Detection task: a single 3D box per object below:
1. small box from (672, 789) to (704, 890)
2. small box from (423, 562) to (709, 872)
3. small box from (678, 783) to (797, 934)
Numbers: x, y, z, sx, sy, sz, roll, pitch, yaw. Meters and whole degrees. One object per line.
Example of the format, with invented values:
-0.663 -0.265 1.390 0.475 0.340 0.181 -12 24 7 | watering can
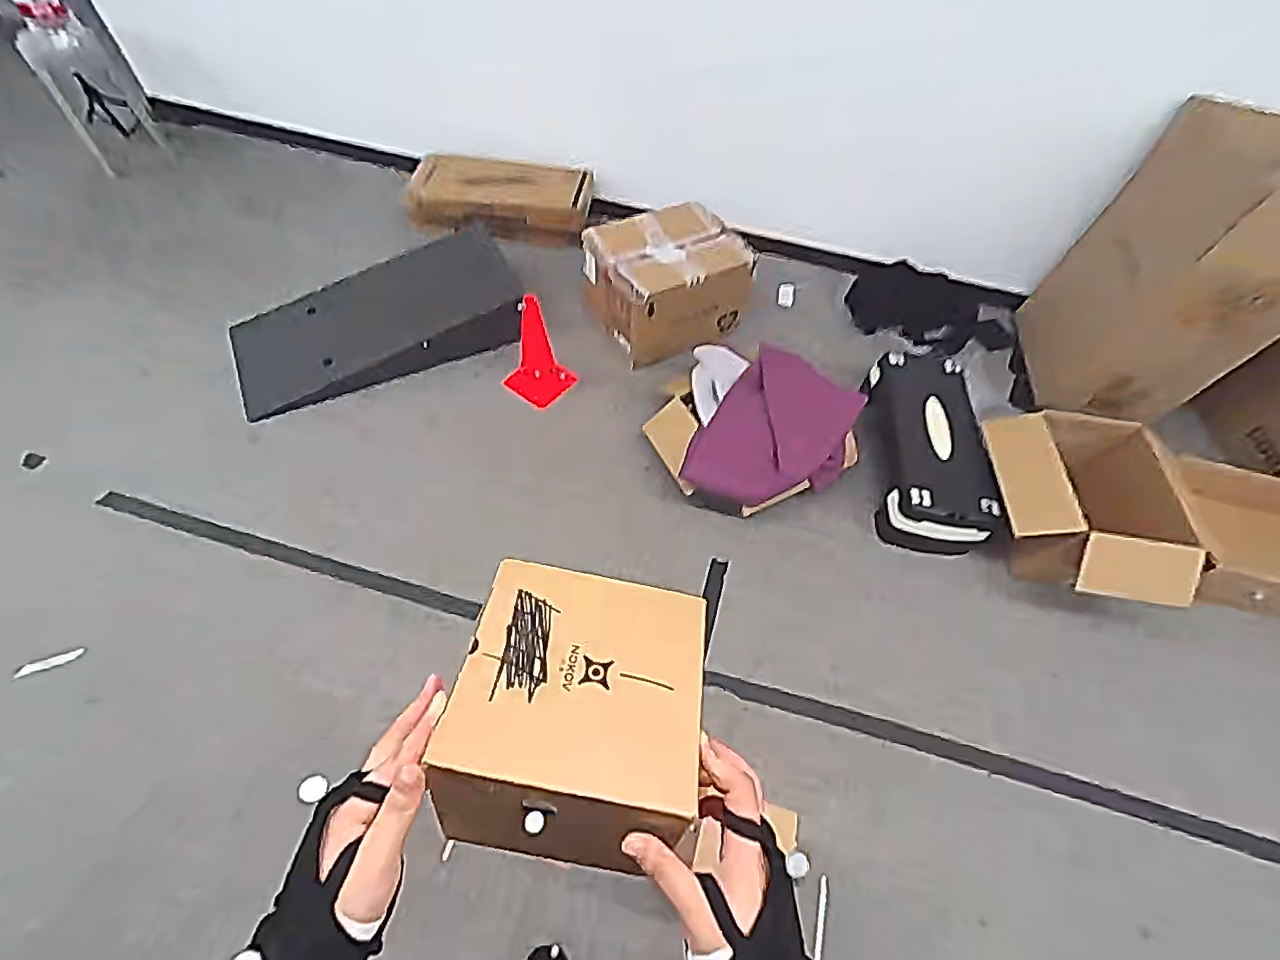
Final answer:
0.167 0.773 1.134 0.168 0.176 0.179 15 57 6 | small box
-0.050 0.195 0.442 0.179 0.176 0.168 11 44 0 | small box
0.173 0.685 0.992 0.168 0.176 0.179 16 57 7 | small box
